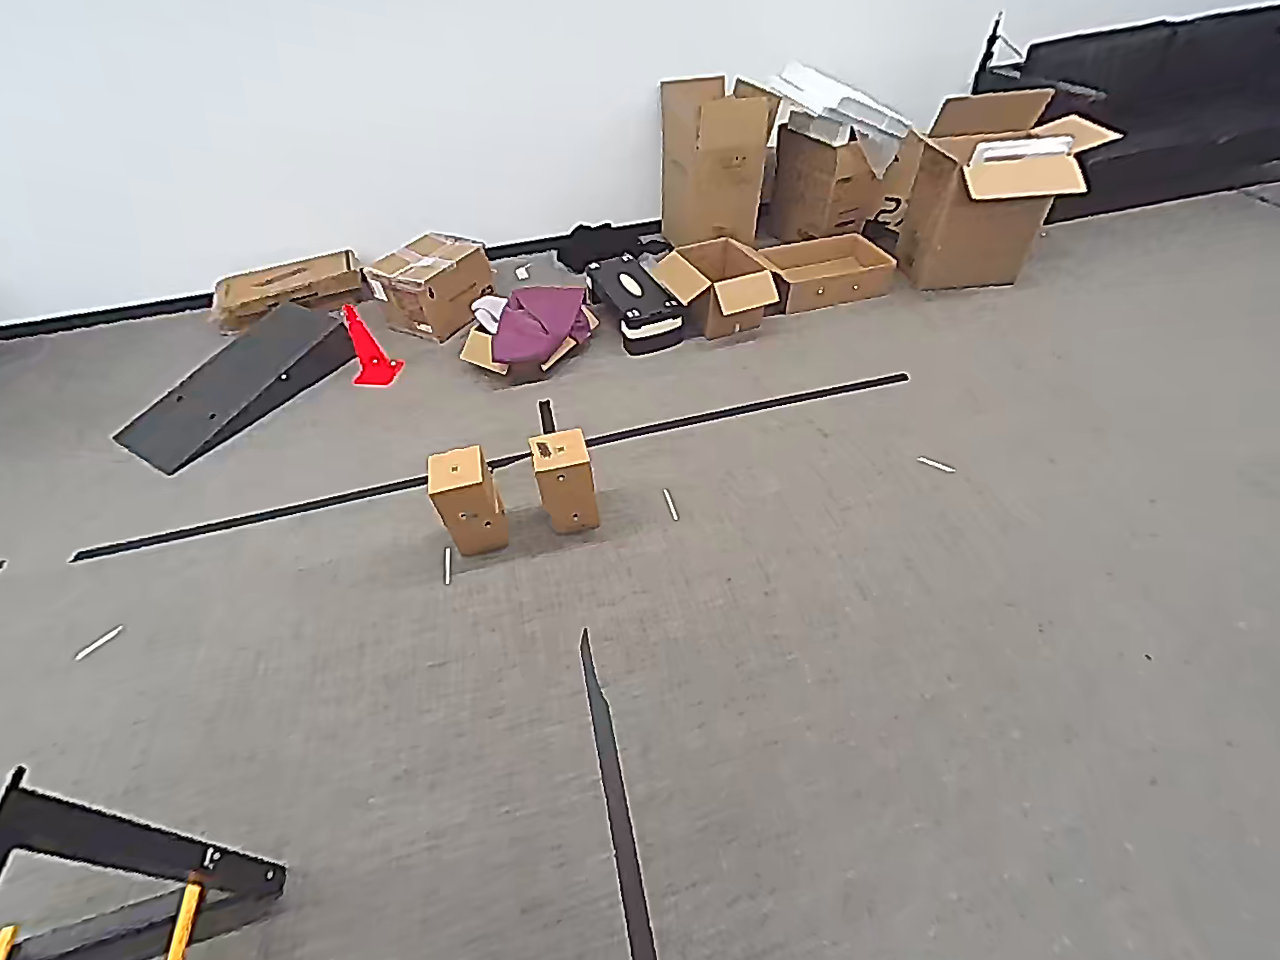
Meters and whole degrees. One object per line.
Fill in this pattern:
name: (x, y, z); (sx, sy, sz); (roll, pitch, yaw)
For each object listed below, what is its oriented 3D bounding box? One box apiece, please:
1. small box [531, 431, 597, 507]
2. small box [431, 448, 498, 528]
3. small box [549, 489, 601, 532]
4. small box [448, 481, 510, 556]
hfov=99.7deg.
small box: (-0.249, -0.033, 1.773); (0.179, 0.176, 0.168); (-13, 47, -8)
small box: (-0.564, 0.027, 1.743); (0.168, 0.176, 0.179); (-15, 48, -7)
small box: (-0.235, 0.067, 1.906); (0.168, 0.176, 0.179); (-11, 48, -7)
small box: (-0.553, 0.134, 1.864); (0.179, 0.176, 0.168); (-14, 47, -8)
